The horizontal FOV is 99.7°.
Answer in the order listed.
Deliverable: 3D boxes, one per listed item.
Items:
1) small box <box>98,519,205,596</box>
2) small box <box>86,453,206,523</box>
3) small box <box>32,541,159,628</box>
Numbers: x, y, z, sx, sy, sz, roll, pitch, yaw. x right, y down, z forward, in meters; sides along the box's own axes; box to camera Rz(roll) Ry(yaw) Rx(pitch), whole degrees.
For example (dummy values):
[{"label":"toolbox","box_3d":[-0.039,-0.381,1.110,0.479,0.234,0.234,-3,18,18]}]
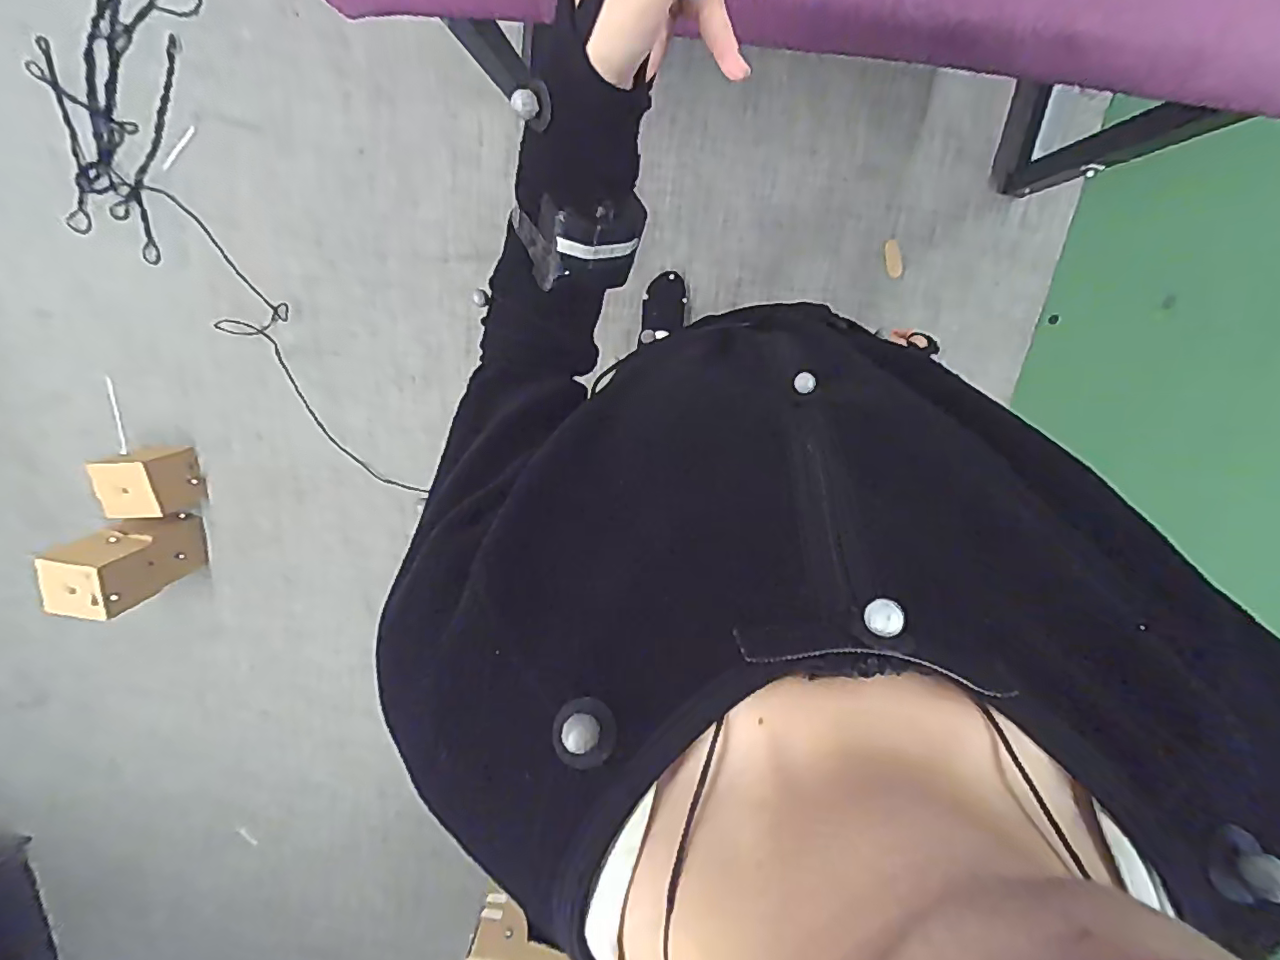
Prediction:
[{"label":"small box","box_3d":[-1.478,0.227,1.647,0.168,0.176,0.179,8,108,3]},{"label":"small box","box_3d":[-1.433,0.021,1.581,0.179,0.176,0.168,-2,108,5]},{"label":"small box","box_3d":[-1.492,0.281,1.492,0.179,0.176,0.168,9,108,3]}]
